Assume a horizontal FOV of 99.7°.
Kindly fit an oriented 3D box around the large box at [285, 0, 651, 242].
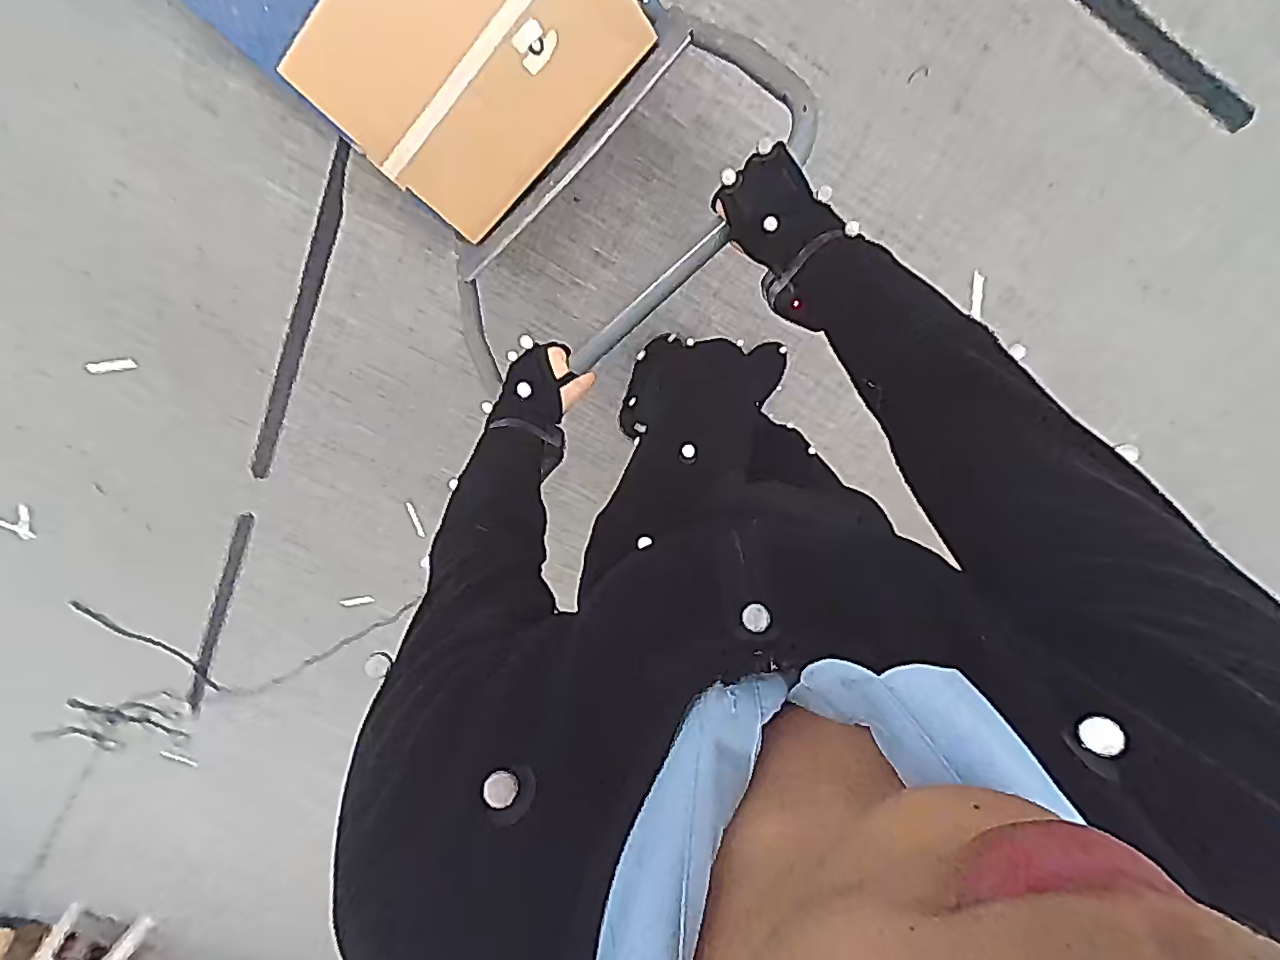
[{"bbox_3d":[-0.256,-0.668,0.832,0.408,0.320,0.320,-40,131,18],"label":"large box"}]
